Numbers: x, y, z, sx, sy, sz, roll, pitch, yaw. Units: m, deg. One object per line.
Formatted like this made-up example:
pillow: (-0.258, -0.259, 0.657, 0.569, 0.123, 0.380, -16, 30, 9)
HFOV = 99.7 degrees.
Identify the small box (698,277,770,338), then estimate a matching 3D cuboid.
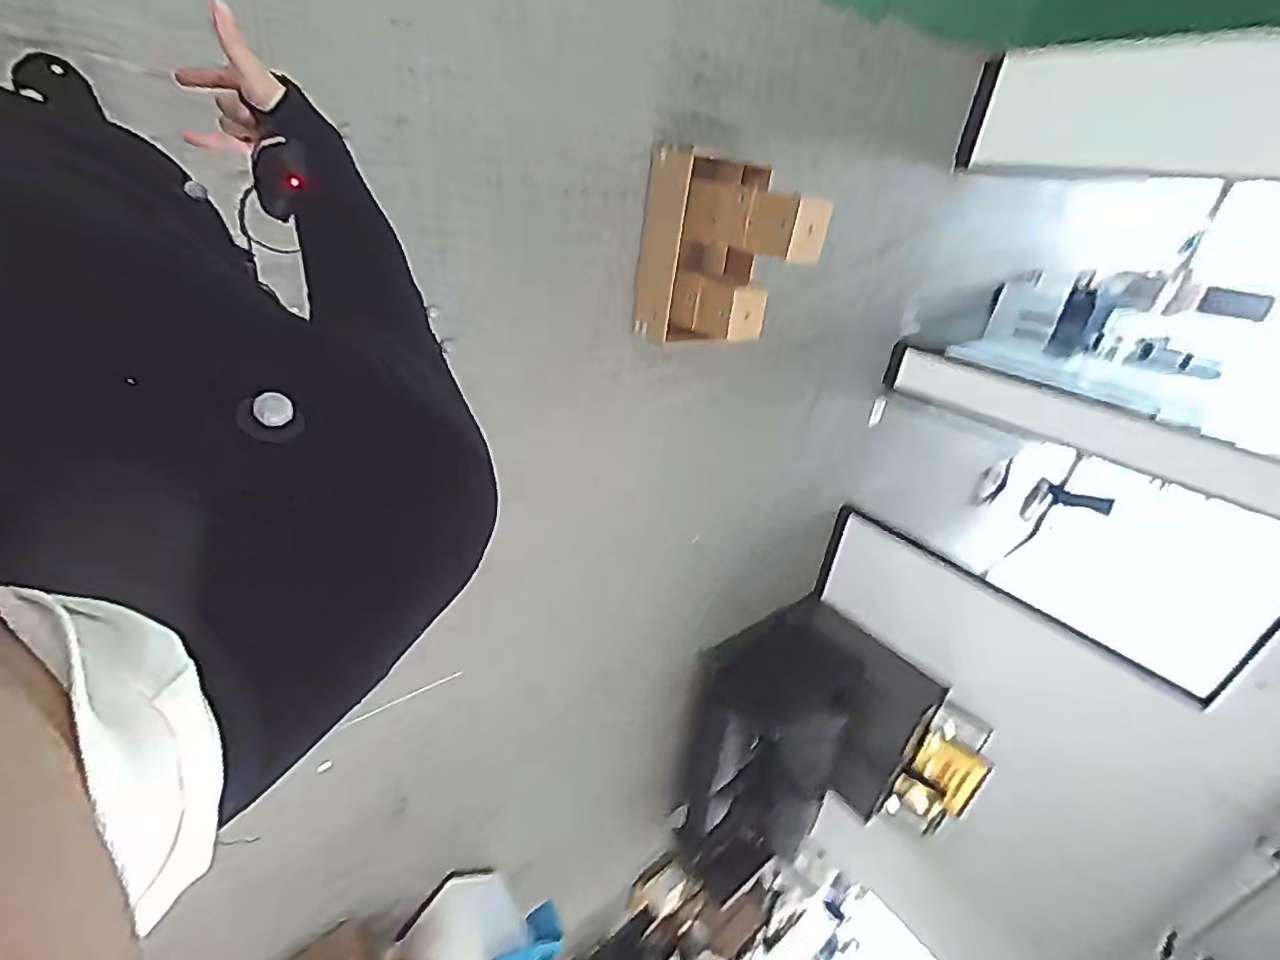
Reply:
small box: (0.319, -0.605, 1.876, 0.168, 0.176, 0.179, -16, 126, -33)

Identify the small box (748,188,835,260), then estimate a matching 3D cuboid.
small box: (0.450, -0.773, 1.631, 0.168, 0.176, 0.179, -14, 126, -37)
